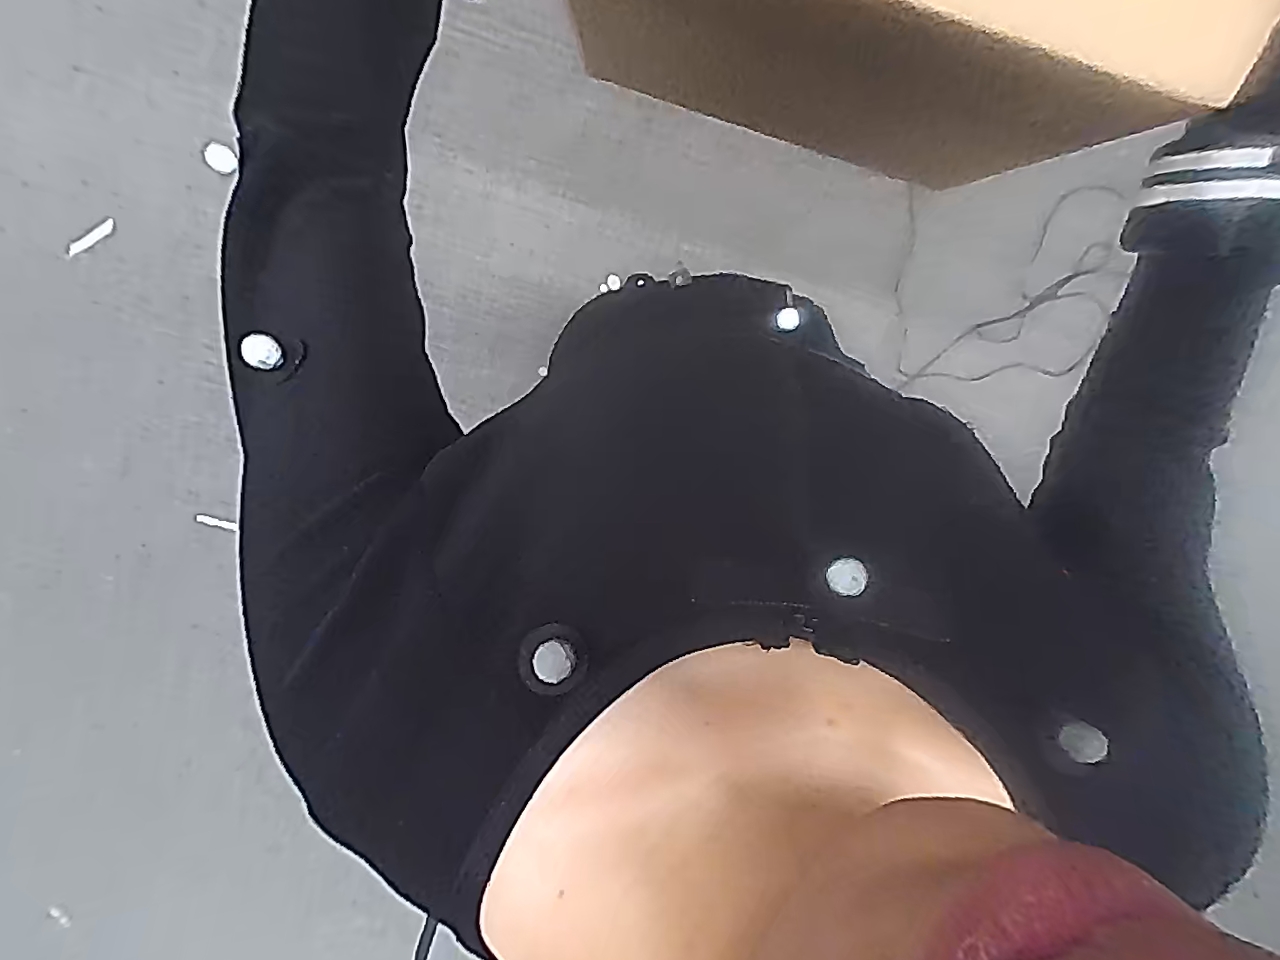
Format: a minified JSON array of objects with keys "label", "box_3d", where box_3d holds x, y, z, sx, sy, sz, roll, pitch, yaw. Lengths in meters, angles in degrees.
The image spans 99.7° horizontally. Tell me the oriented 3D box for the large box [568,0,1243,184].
[{"label":"large box","box_3d":[0.170,-0.459,0.392,0.408,0.320,0.320,14,110,-5]}]
